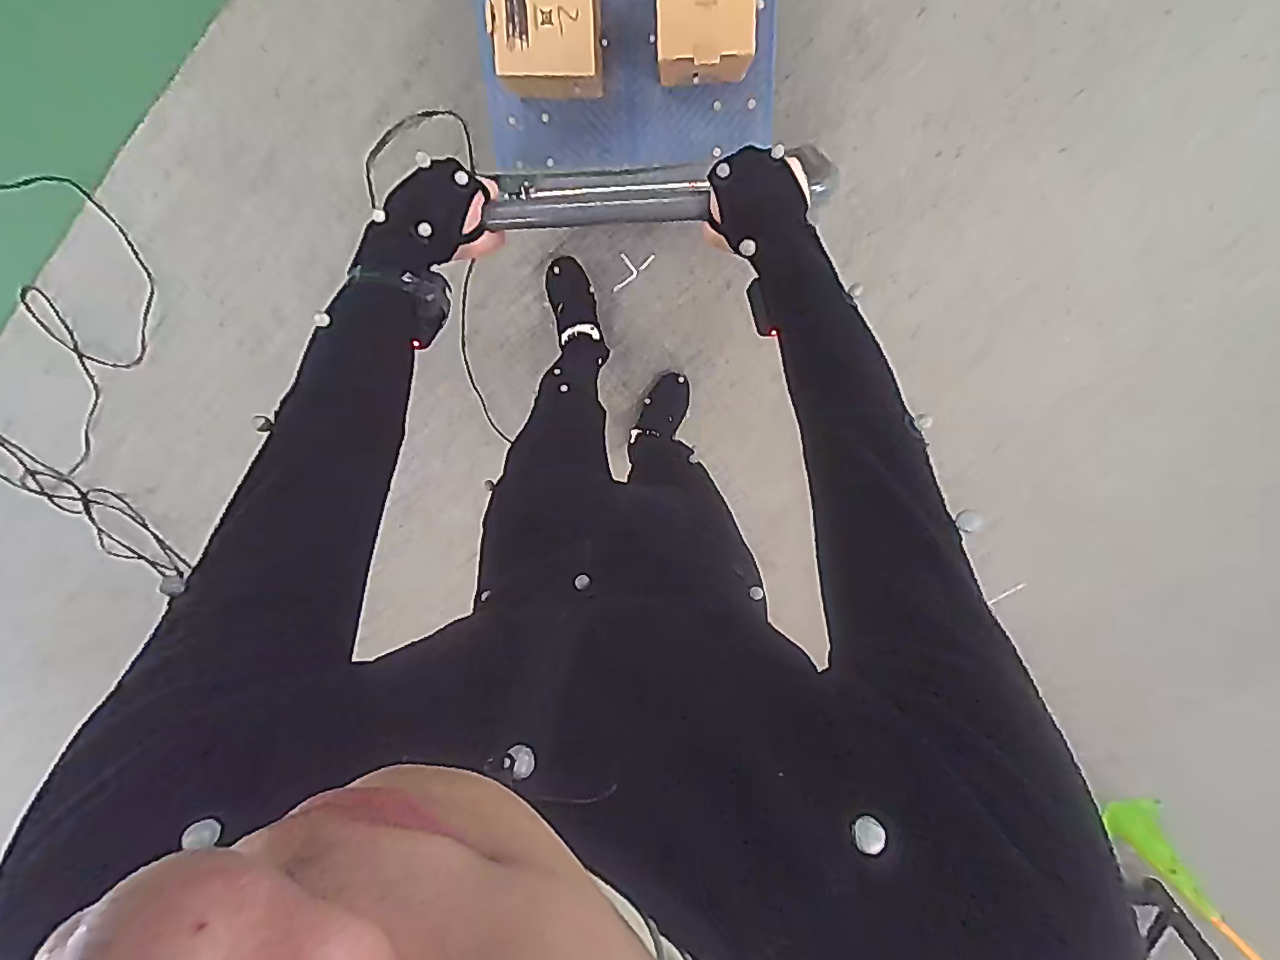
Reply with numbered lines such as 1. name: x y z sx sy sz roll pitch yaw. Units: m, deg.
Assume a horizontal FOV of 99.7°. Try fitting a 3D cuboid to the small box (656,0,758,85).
1. small box: 0.113 -0.830 0.960 0.168 0.176 0.179 -2 115 3
